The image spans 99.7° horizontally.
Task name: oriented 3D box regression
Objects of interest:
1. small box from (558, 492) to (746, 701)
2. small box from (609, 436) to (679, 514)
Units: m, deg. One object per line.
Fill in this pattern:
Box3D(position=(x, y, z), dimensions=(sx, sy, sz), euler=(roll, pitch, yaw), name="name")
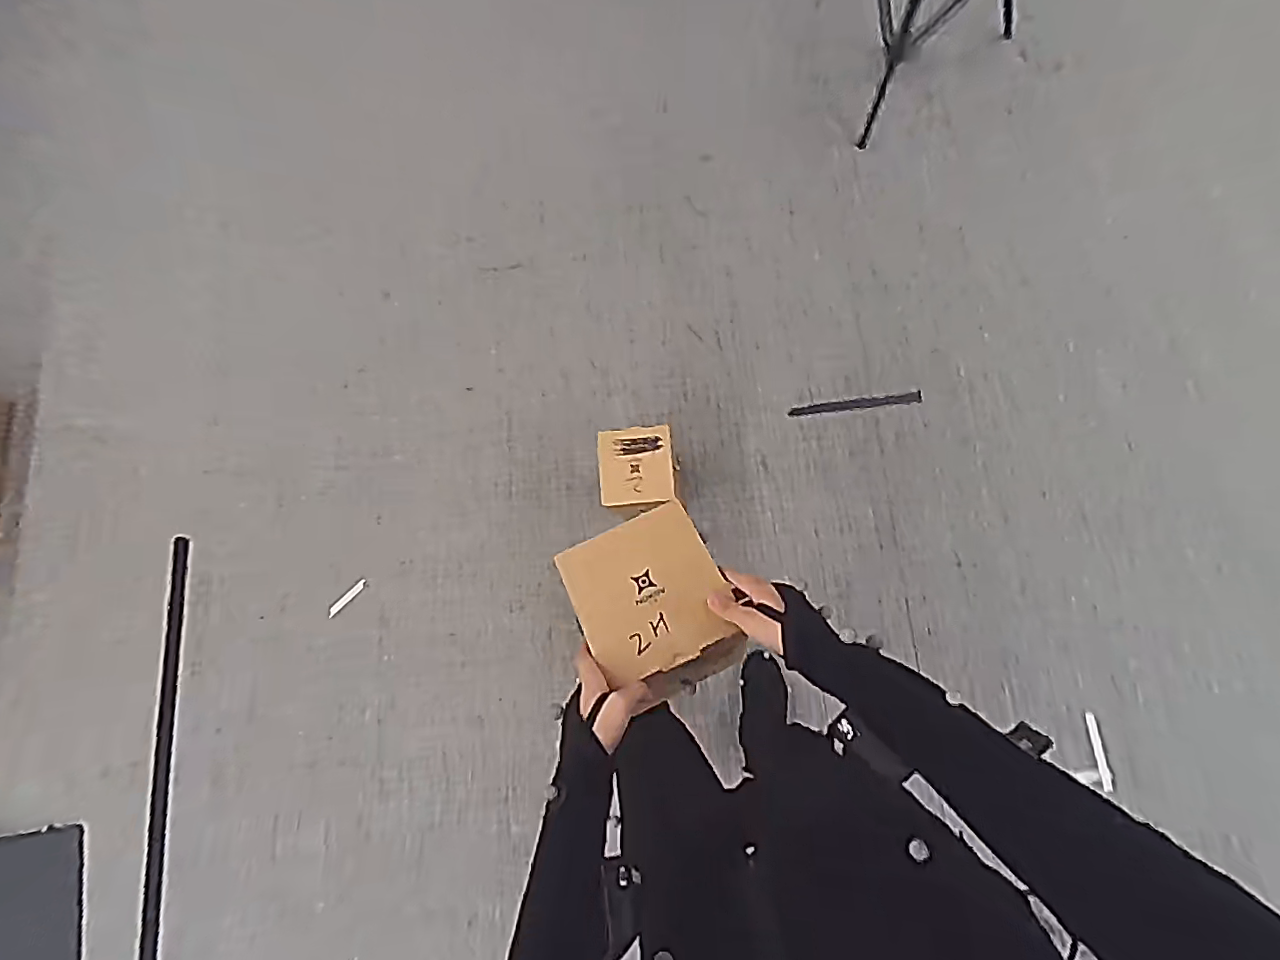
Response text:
Box3D(position=(0.015, 0.151, 0.675), dimensions=(0.168, 0.176, 0.179), euler=(-24, 60, -6), name="small box")
Box3D(position=(0.016, -0.003, 1.443), dimensions=(0.168, 0.176, 0.179), euler=(-8, 78, 5), name="small box")
